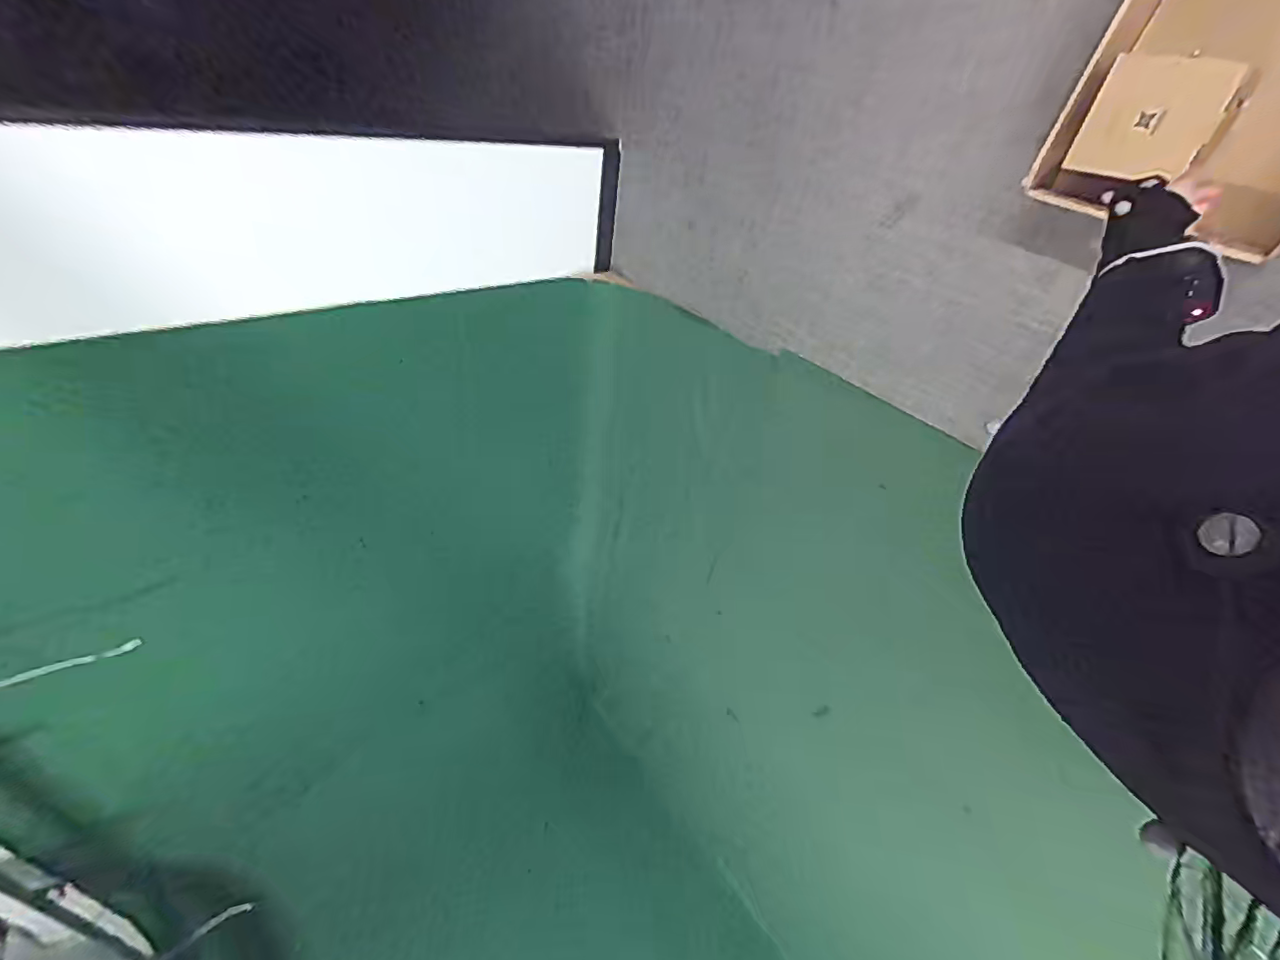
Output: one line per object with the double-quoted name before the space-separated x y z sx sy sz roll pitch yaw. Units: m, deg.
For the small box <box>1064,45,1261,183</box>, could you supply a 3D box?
"small box" 0.882 -0.616 0.915 0.179 0.176 0.168 39 136 33
